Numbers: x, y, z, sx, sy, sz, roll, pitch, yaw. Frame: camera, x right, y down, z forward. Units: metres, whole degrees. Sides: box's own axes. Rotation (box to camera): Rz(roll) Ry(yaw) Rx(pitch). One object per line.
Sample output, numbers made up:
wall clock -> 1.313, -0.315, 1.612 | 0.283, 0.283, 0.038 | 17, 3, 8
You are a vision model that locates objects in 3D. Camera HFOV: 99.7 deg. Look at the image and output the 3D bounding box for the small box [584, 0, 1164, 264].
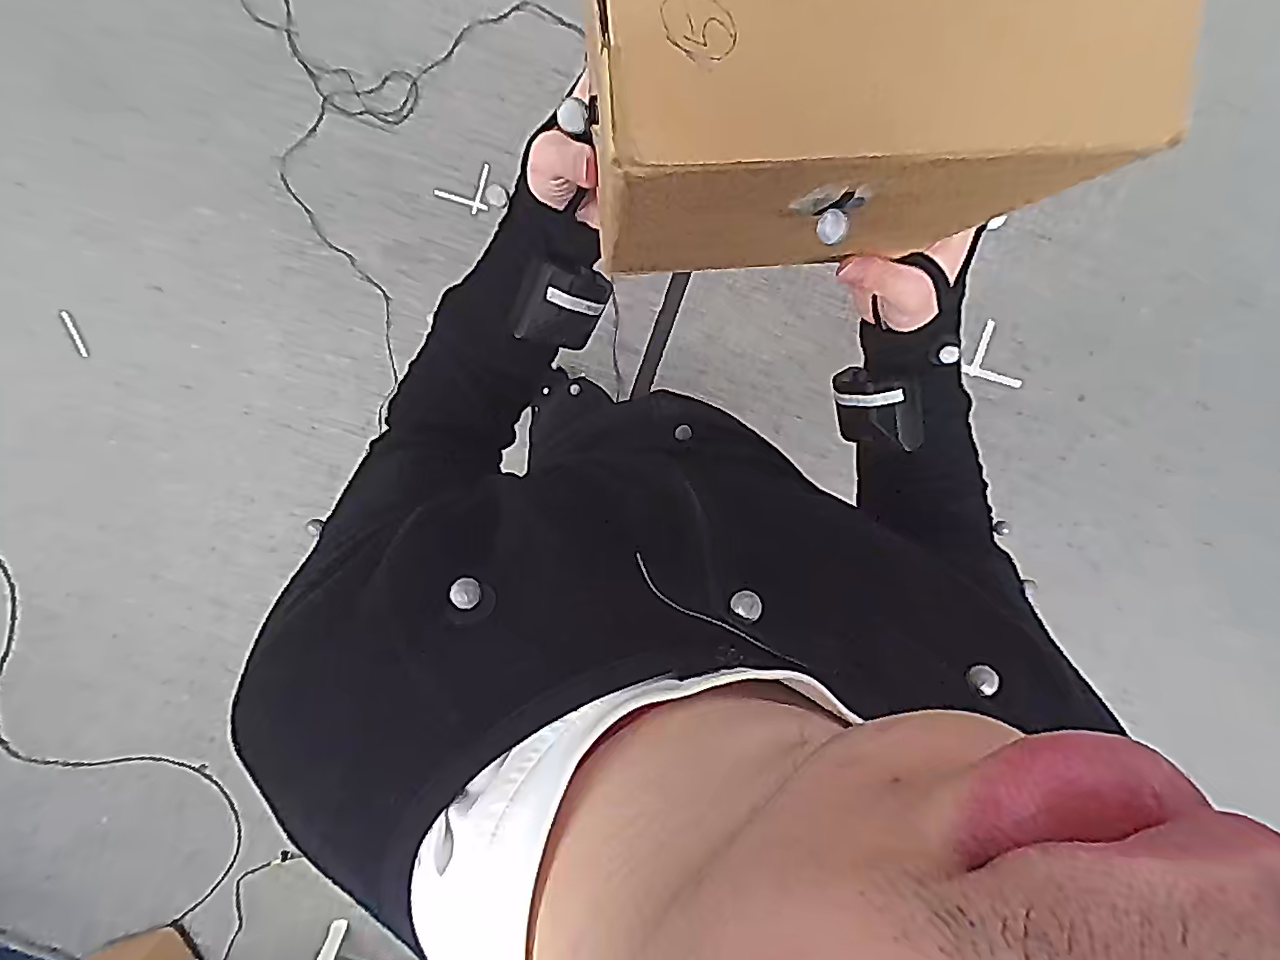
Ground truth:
small box -> 0.065, -0.198, 0.231 | 0.179, 0.176, 0.168 | -6, 102, -4
